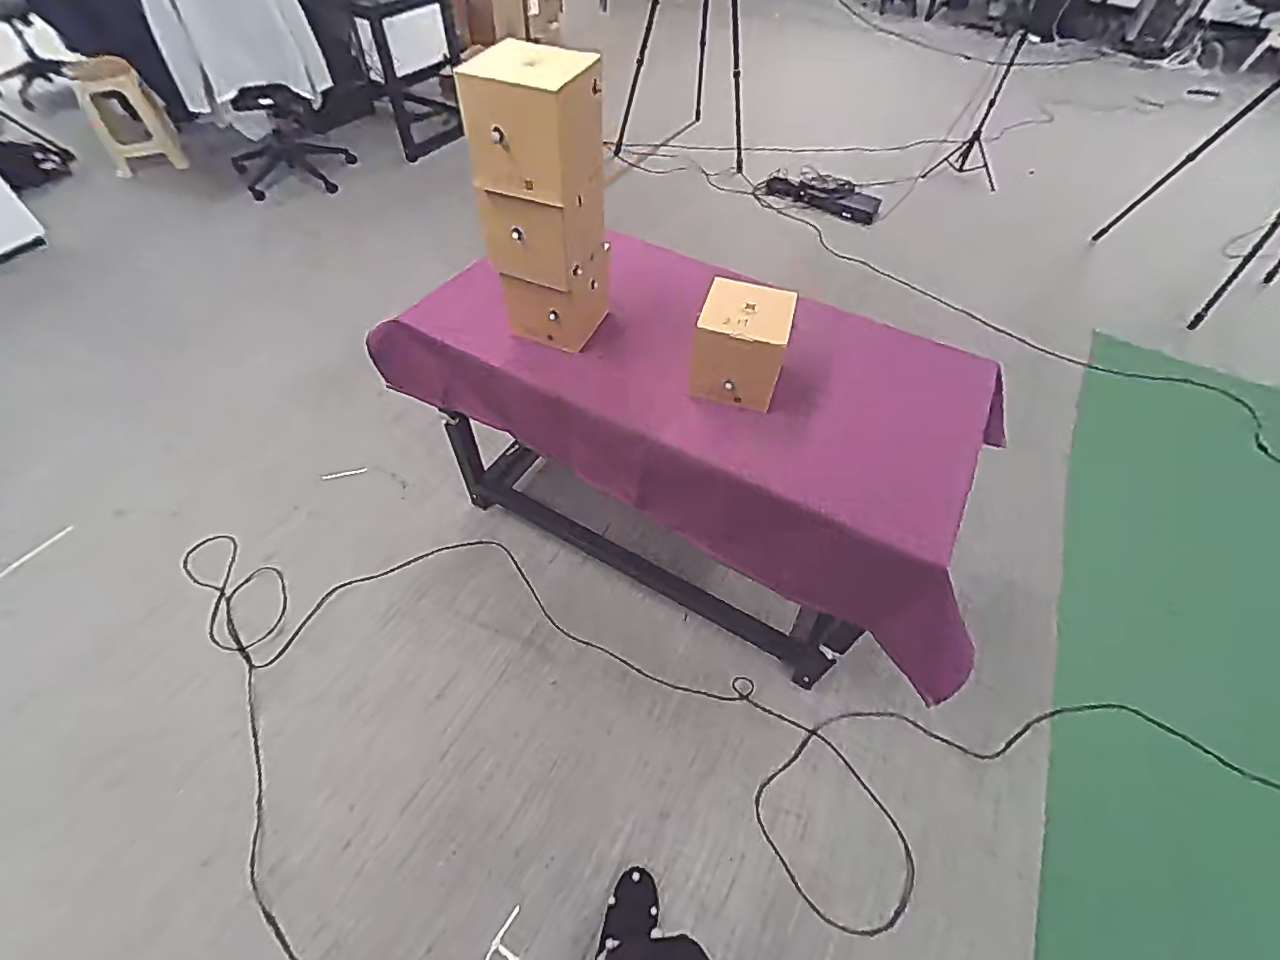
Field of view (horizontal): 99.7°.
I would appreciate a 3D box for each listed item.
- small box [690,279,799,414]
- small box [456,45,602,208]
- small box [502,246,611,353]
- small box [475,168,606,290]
[{"bbox_3d":[0.201,-0.261,1.066,0.168,0.176,0.179,15,53,9],"label":"small box"},{"bbox_3d":[-0.165,-0.571,0.878,0.168,0.176,0.179,17,53,9],"label":"small box"},{"bbox_3d":[-0.168,-0.400,1.158,0.168,0.176,0.179,21,53,12],"label":"small box"},{"bbox_3d":[-0.175,-0.483,1.015,0.179,0.176,0.168,20,54,12],"label":"small box"}]
